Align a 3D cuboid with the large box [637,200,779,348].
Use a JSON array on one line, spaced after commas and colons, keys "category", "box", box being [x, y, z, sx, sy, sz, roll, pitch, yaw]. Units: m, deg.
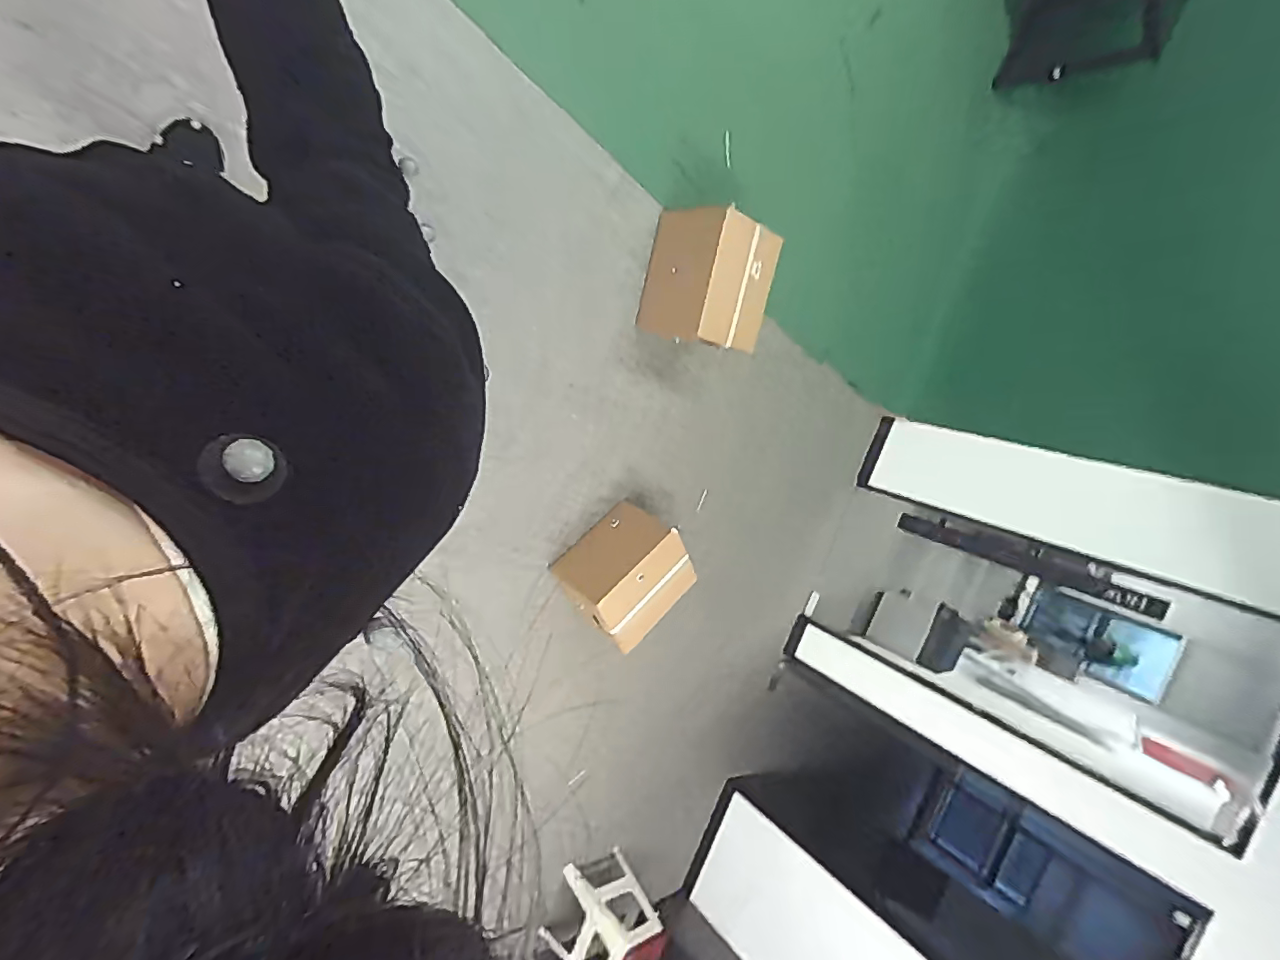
[{"category": "large box", "box": [0.231, -0.701, 1.888, 0.320, 0.320, 0.408, 2, 105, -45]}]
